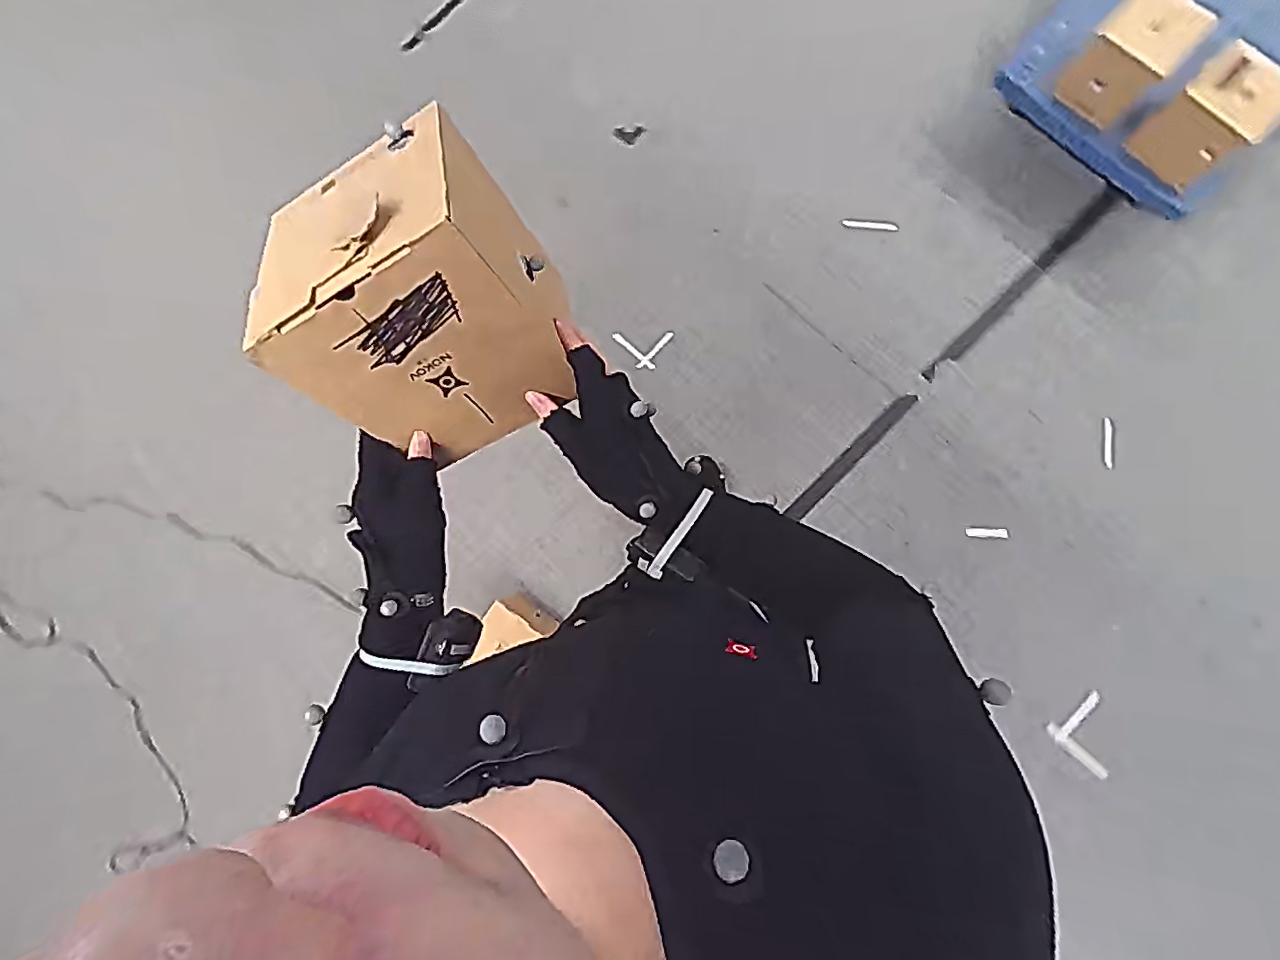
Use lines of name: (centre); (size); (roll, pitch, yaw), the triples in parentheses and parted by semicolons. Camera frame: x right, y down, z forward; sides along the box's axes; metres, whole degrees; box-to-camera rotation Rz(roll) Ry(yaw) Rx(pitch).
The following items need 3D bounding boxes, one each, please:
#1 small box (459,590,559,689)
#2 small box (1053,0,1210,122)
small box: (-0.337, 0.416, 1.438); (0.168, 0.176, 0.179); (35, 89, 7)
small box: (1.101, -0.976, 1.234); (0.168, 0.176, 0.179); (42, 89, 6)
